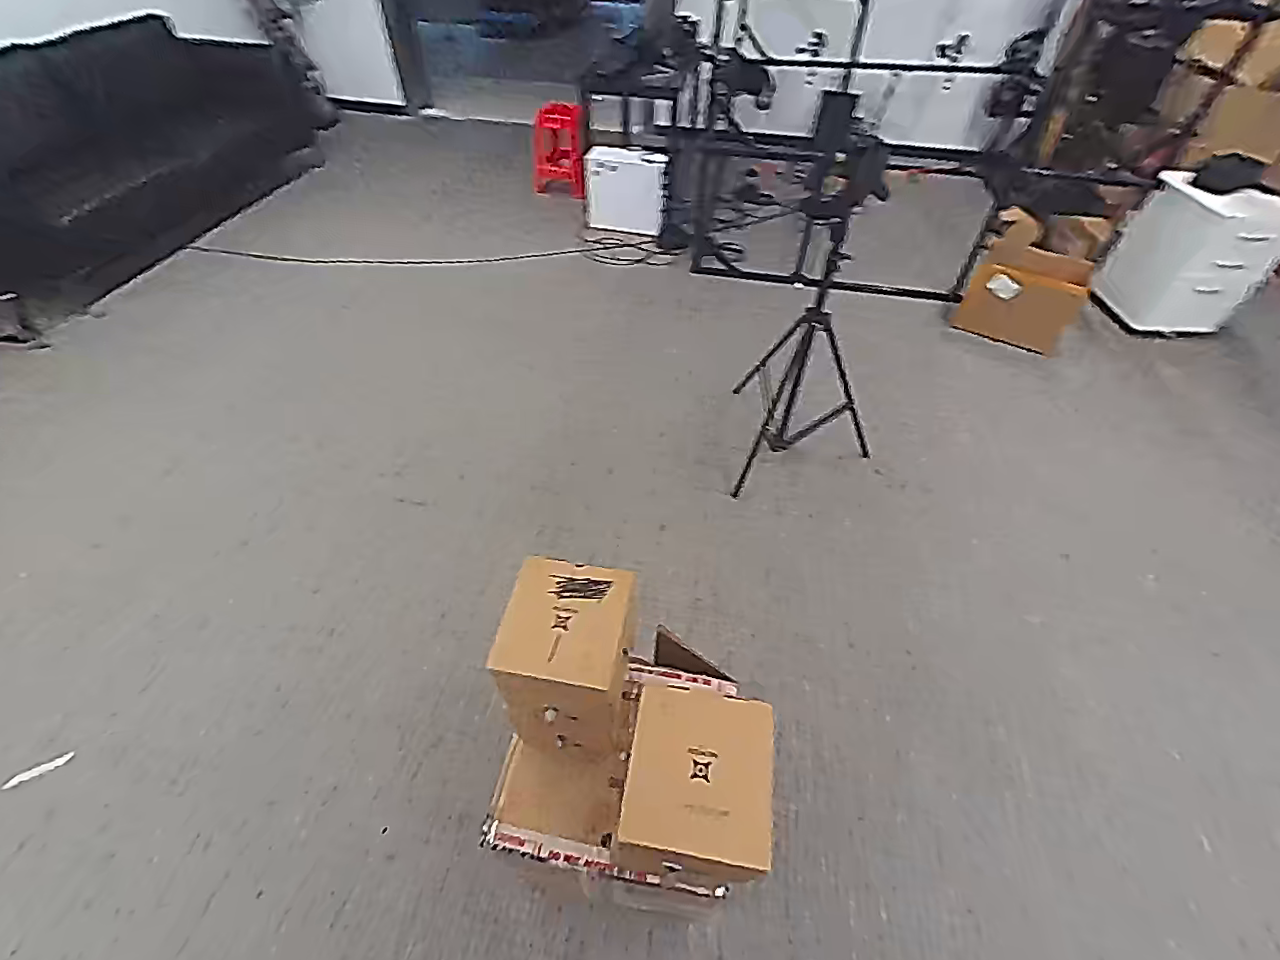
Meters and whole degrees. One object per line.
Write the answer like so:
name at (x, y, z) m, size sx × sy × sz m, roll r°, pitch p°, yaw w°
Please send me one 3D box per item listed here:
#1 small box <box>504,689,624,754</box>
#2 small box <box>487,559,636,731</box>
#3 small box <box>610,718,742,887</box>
small box at (-0.116, 0.345, 0.925) m, size 0.168 × 0.176 × 0.179 m, roll 5°, pitch 50°, yaw 5°
small box at (-0.102, 0.243, 0.796) m, size 0.168 × 0.176 × 0.179 m, roll 7°, pitch 51°, yaw 7°
small box at (0.054, 0.485, 0.808) m, size 0.168 × 0.176 × 0.179 m, roll 8°, pitch 50°, yaw 5°
